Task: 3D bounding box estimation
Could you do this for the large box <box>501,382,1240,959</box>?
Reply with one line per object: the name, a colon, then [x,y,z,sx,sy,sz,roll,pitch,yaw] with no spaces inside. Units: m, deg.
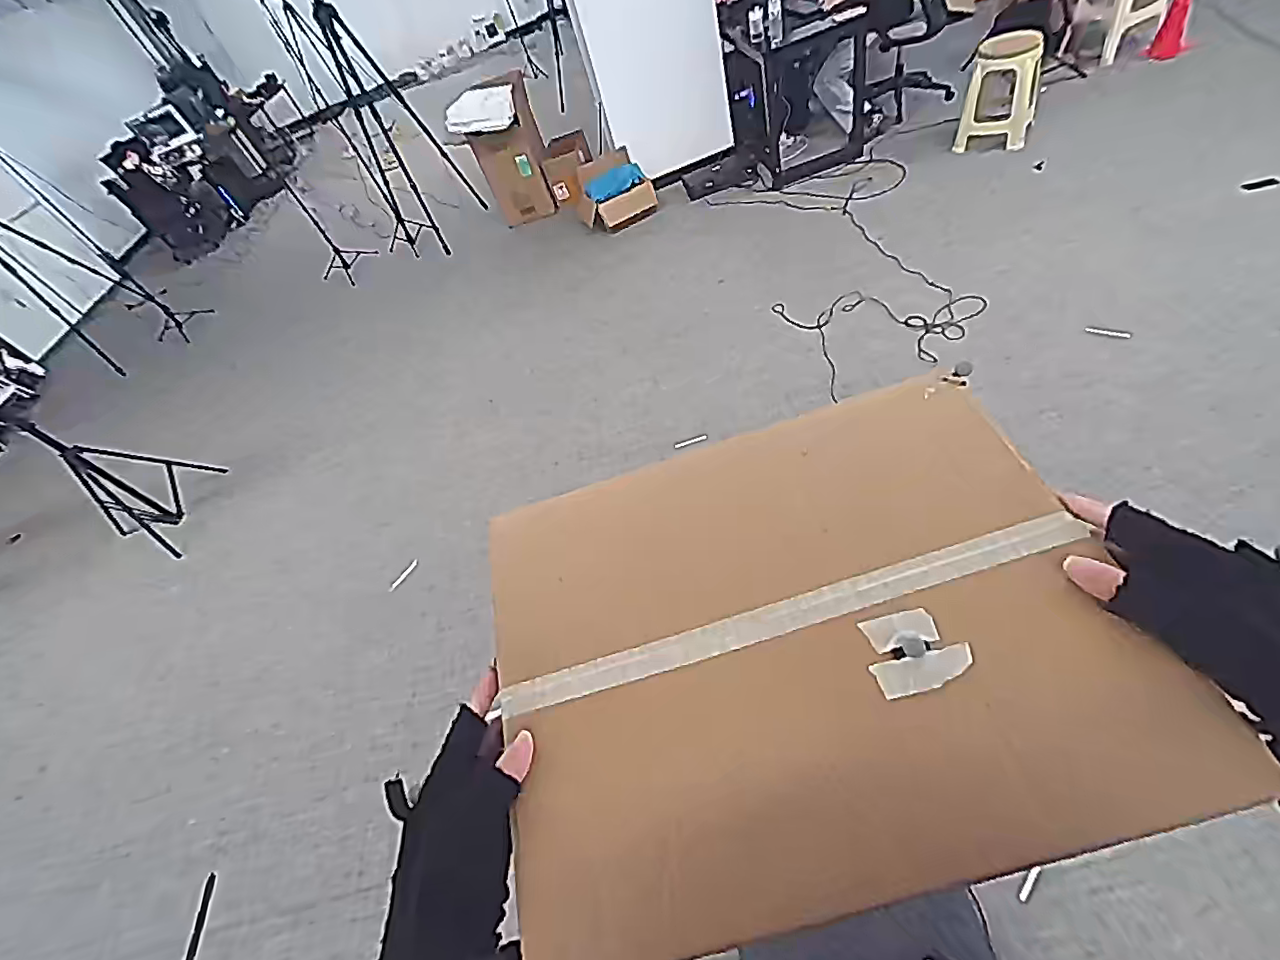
large box: [0.131,0.178,0.501,0.408,0.320,0.320,-18,55,3]
